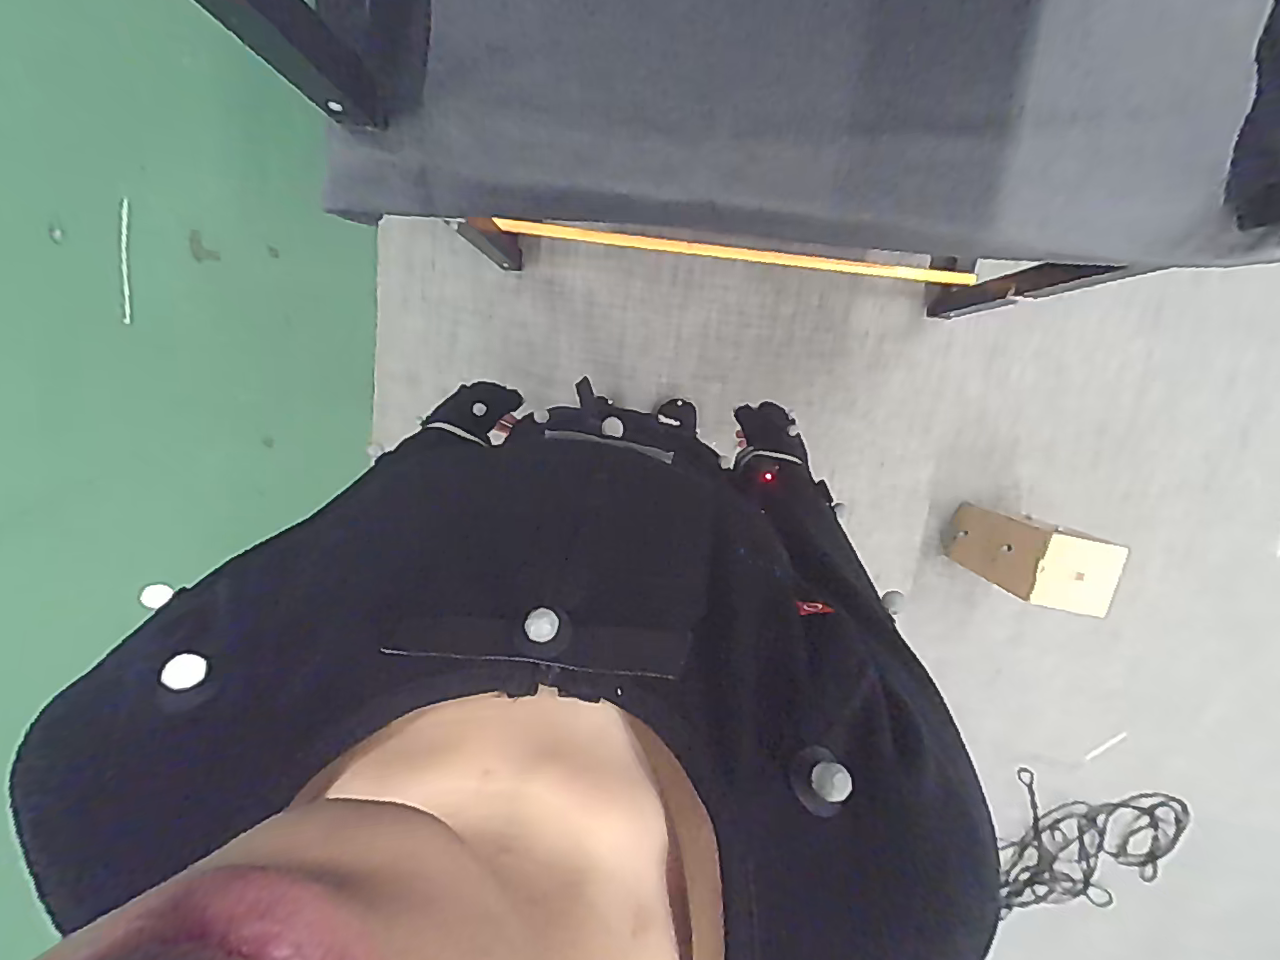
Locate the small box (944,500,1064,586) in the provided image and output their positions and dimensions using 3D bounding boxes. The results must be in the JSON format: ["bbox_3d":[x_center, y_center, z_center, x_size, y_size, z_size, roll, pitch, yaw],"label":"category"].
[{"bbox_3d":[0.947,0.159,1.422,0.179,0.176,0.168,12,99,-1],"label":"small box"}]
